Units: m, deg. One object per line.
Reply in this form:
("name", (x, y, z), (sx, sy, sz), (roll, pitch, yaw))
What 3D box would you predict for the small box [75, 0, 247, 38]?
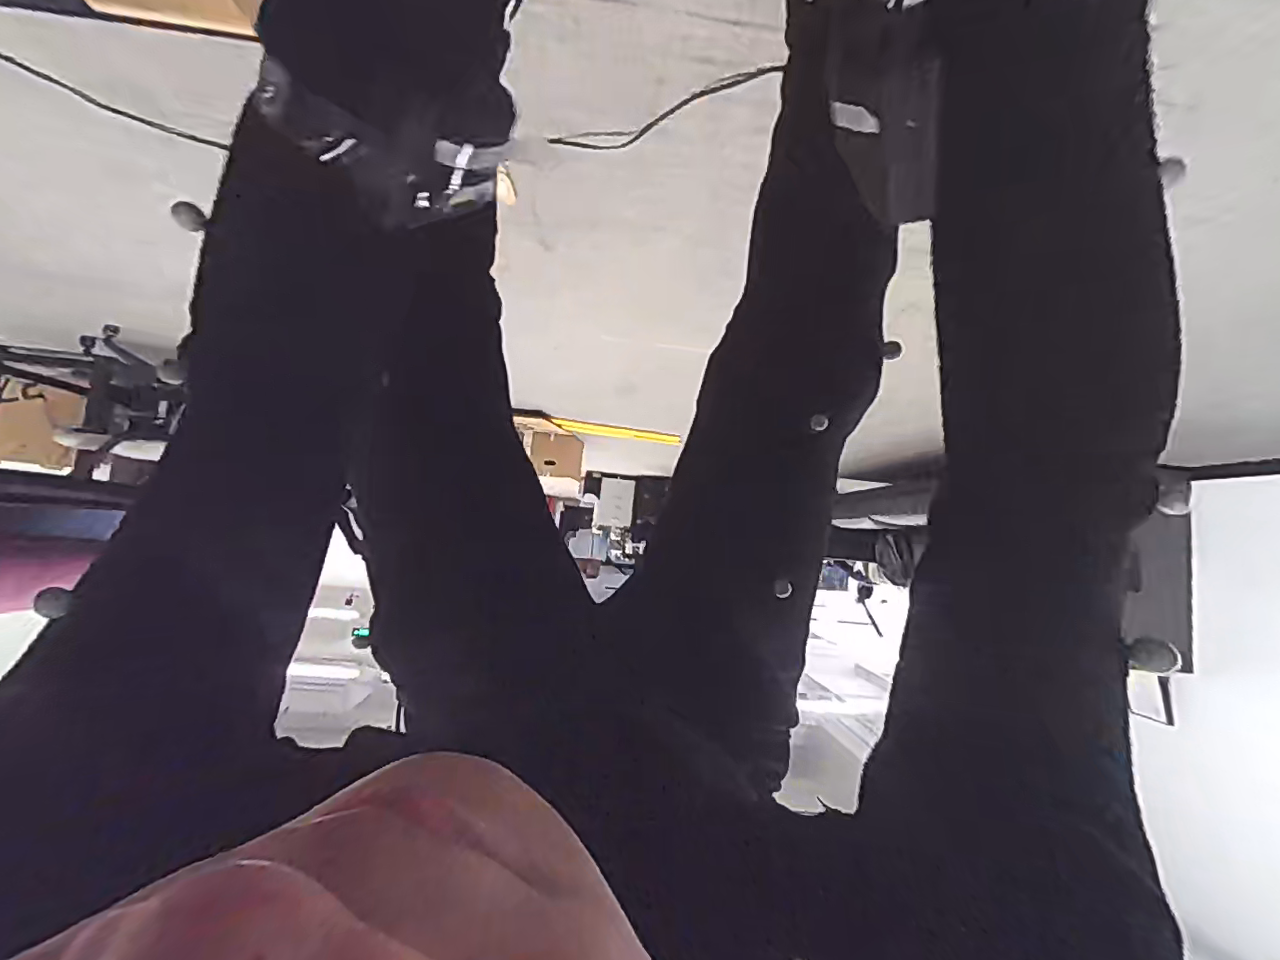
("small box", (-0.473, -0.560, 0.483), (0.168, 0.176, 0.179), (6, 174, -4))
